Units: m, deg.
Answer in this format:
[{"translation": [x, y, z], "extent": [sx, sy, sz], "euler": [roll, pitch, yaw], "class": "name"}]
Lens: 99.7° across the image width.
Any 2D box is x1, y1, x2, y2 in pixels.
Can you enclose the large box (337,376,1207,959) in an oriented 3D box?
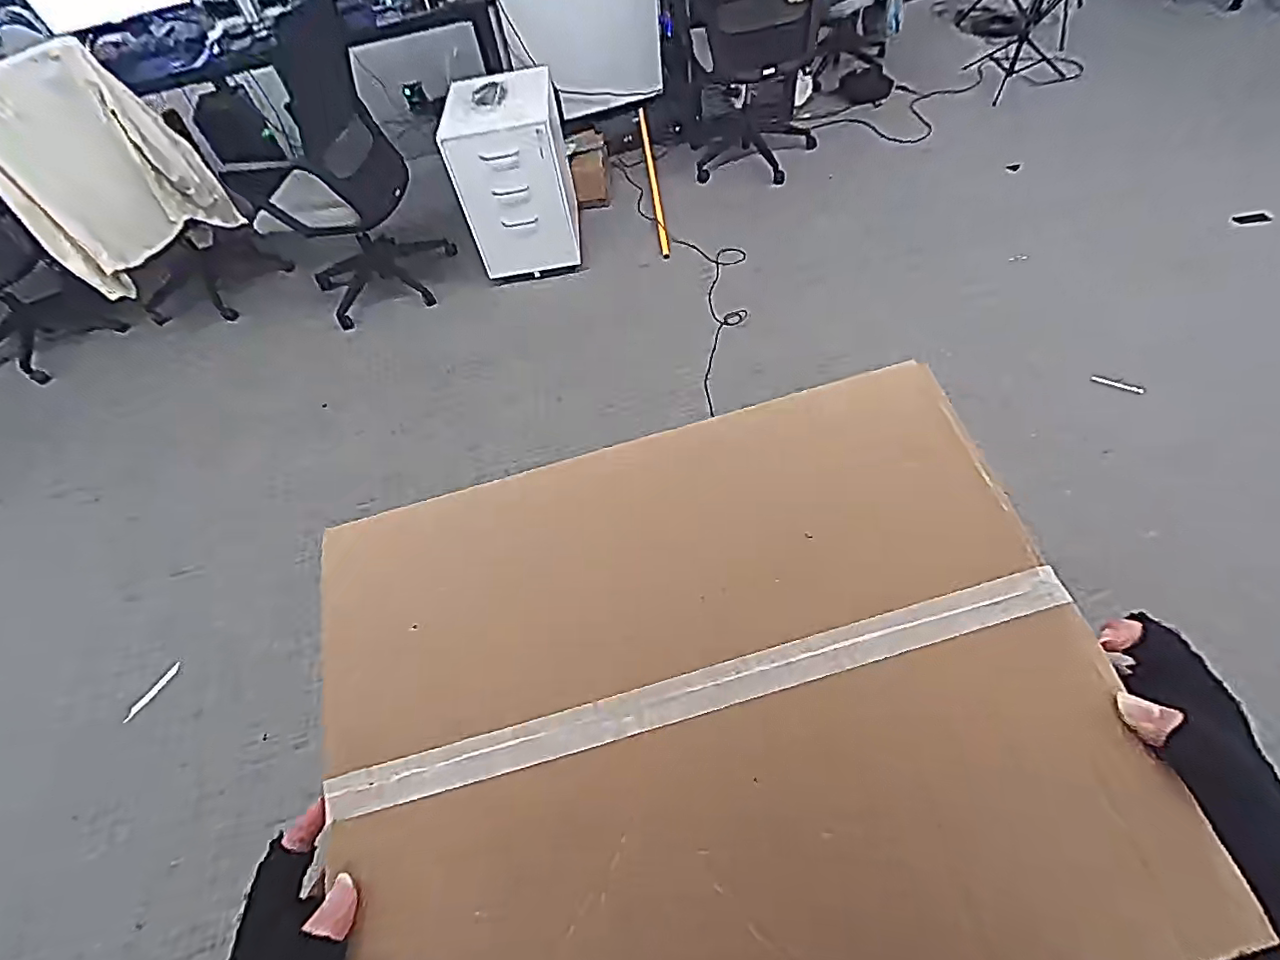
[{"translation": [0.046, 0.177, 0.435], "extent": [0.408, 0.320, 0.320], "euler": [-17, 64, 0], "class": "large box"}]
